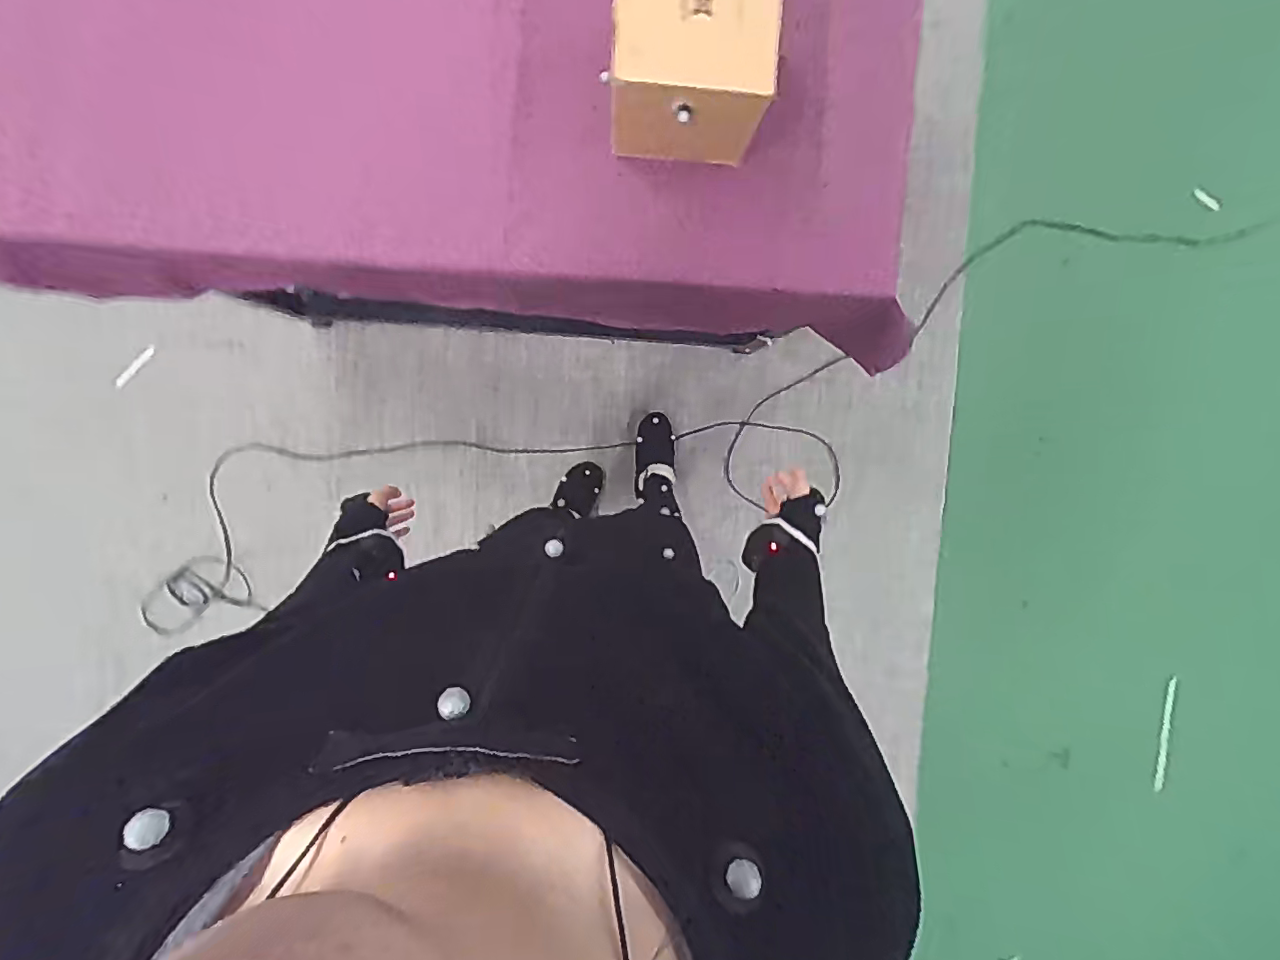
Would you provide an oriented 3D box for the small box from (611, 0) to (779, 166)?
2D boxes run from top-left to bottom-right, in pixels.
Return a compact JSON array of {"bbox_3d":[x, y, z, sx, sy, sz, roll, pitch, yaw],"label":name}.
[{"bbox_3d":[0.056,-0.506,0.651,0.179,0.176,0.168,3,96,-4],"label":"small box"}]
